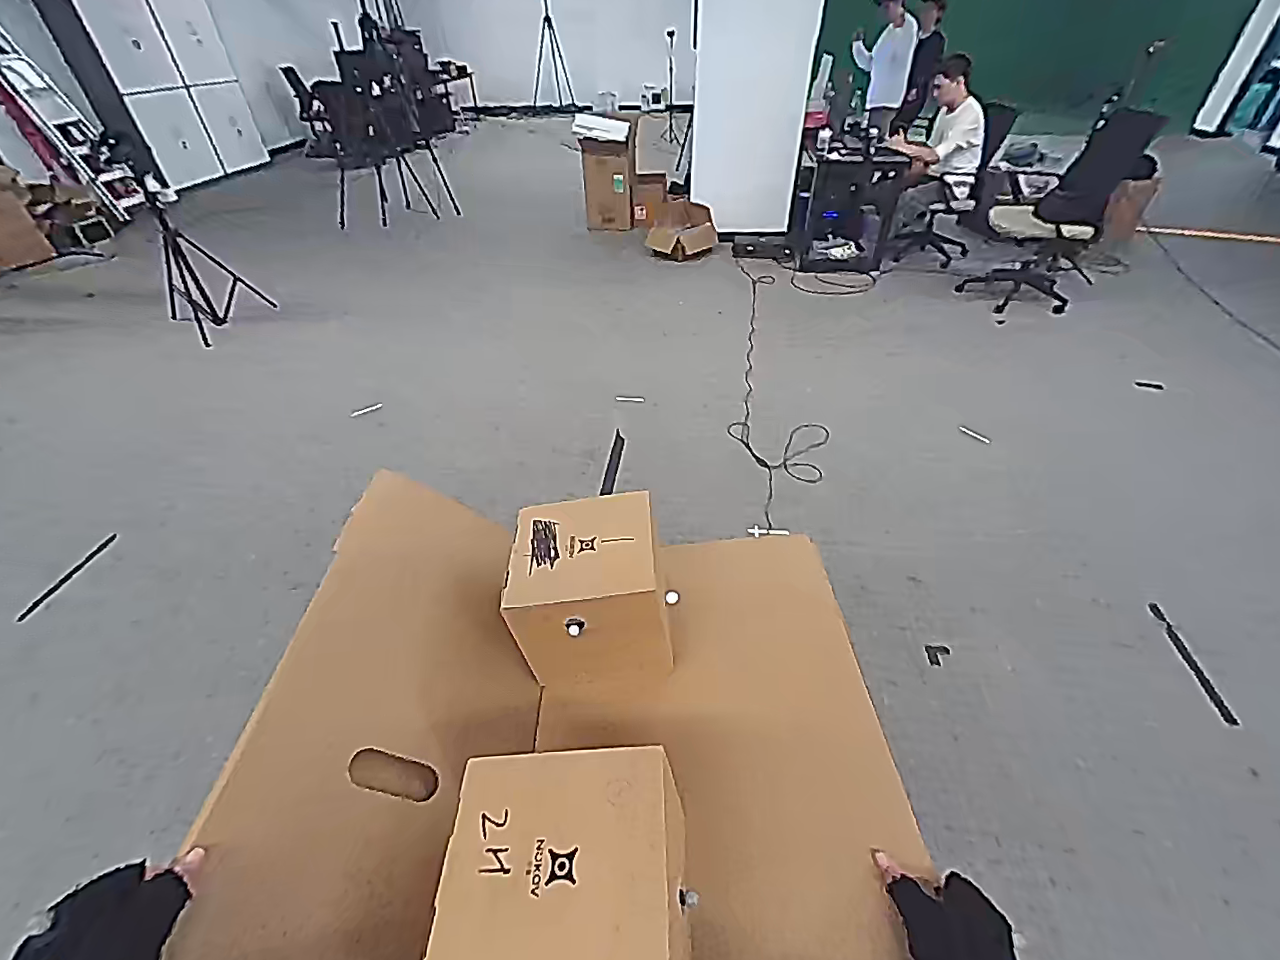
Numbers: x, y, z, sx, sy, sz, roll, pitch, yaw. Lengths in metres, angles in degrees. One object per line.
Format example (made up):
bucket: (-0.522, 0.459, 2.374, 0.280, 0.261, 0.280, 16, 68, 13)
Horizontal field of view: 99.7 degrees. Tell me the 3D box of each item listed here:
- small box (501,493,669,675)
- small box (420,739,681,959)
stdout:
small box: (-0.062, 0.141, 0.718, 0.179, 0.176, 0.168, -8, 40, 4)
small box: (-0.057, 0.348, 0.473, 0.179, 0.176, 0.168, -7, 40, 7)
